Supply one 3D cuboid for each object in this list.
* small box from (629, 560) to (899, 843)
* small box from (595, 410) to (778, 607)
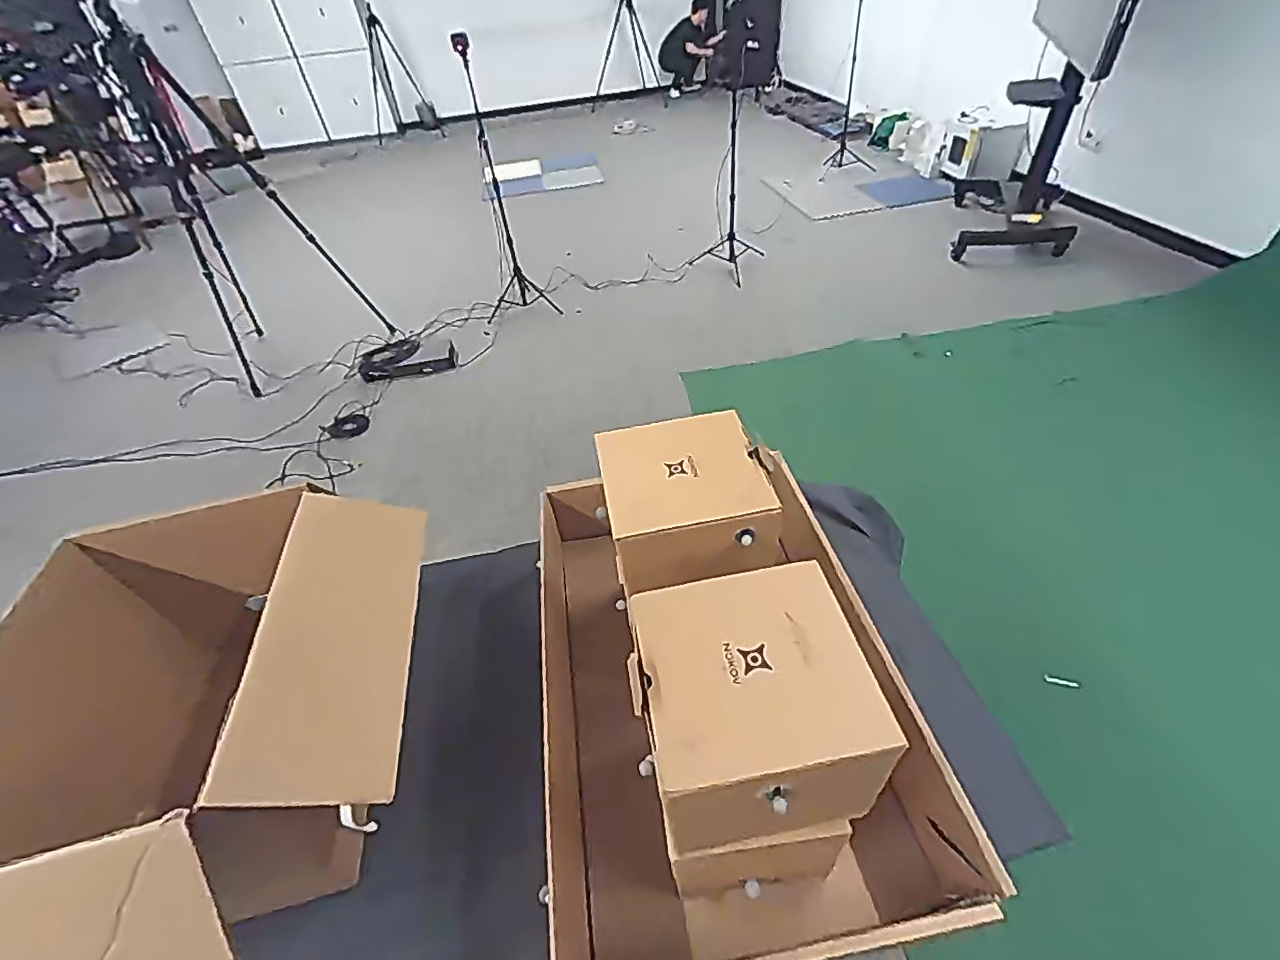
[{"bbox_3d":[0.095,0.200,0.484,0.179,0.176,0.168,-10,44,-3],"label":"small box"},{"bbox_3d":[0.051,0.043,0.651,0.179,0.176,0.168,-10,46,-4],"label":"small box"}]
